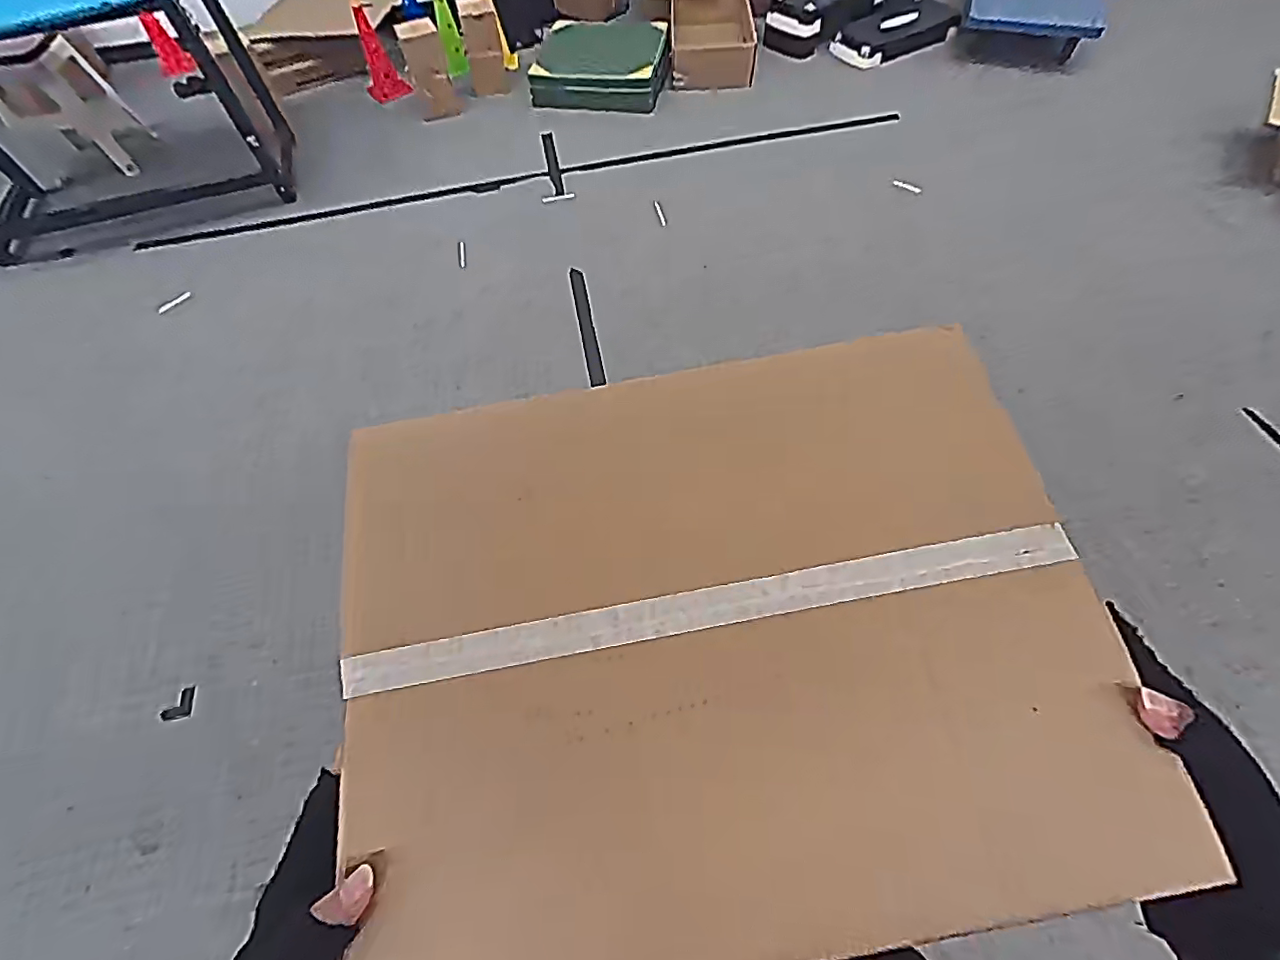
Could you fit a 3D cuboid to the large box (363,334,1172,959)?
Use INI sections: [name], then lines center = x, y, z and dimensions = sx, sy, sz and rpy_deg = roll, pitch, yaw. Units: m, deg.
[large box]
center = 0.045, 0.131, 0.451
dimensions = 0.408, 0.320, 0.320
rpy_deg = -11, 67, -1
